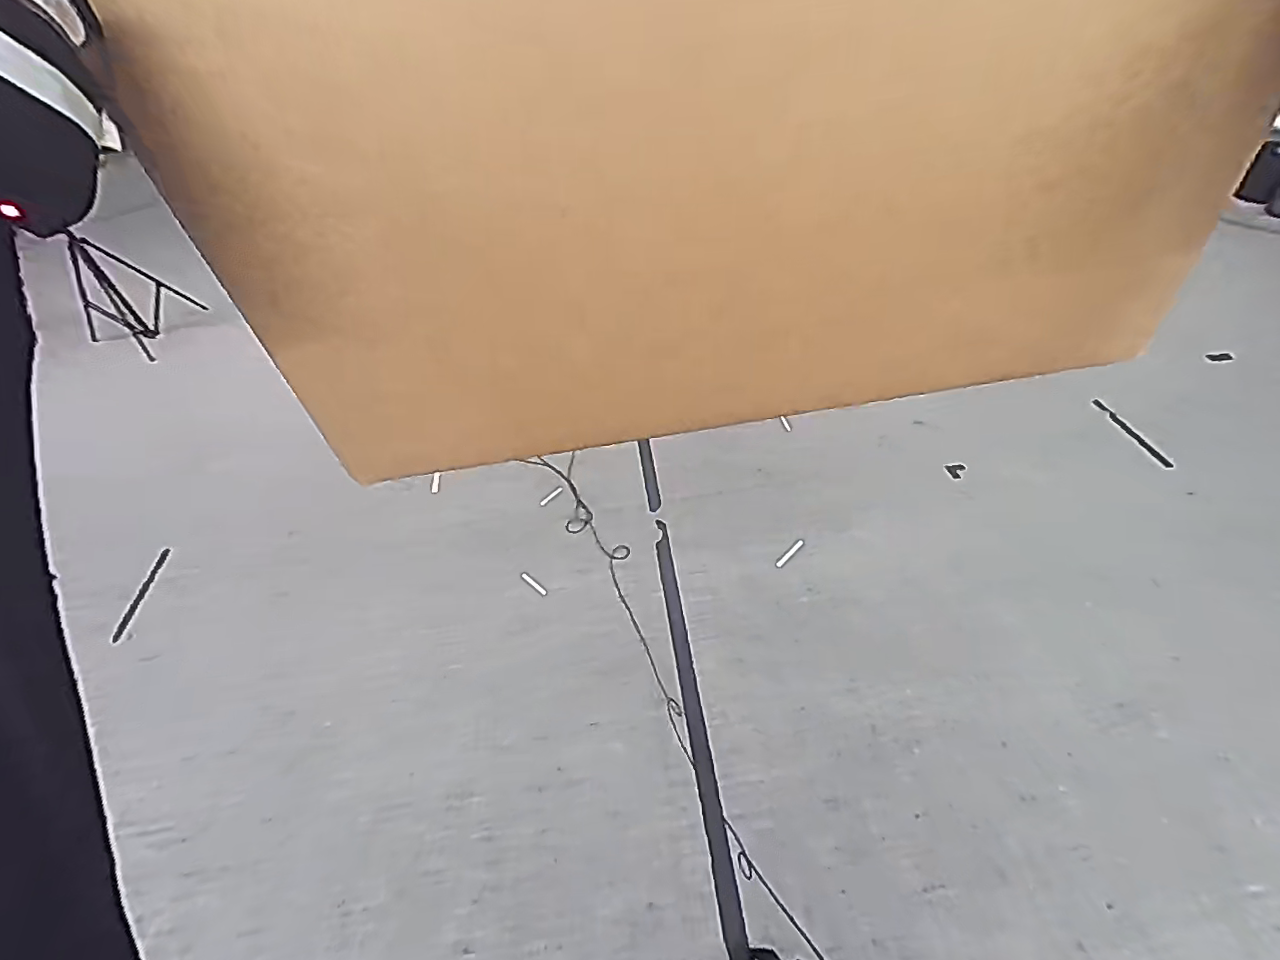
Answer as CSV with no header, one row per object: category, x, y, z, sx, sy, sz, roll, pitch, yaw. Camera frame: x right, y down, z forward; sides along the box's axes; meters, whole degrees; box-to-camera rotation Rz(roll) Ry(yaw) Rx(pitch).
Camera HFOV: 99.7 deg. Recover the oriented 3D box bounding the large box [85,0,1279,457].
large box,0.017,-0.246,0.287,0.408,0.320,0.320,-9,43,-1
